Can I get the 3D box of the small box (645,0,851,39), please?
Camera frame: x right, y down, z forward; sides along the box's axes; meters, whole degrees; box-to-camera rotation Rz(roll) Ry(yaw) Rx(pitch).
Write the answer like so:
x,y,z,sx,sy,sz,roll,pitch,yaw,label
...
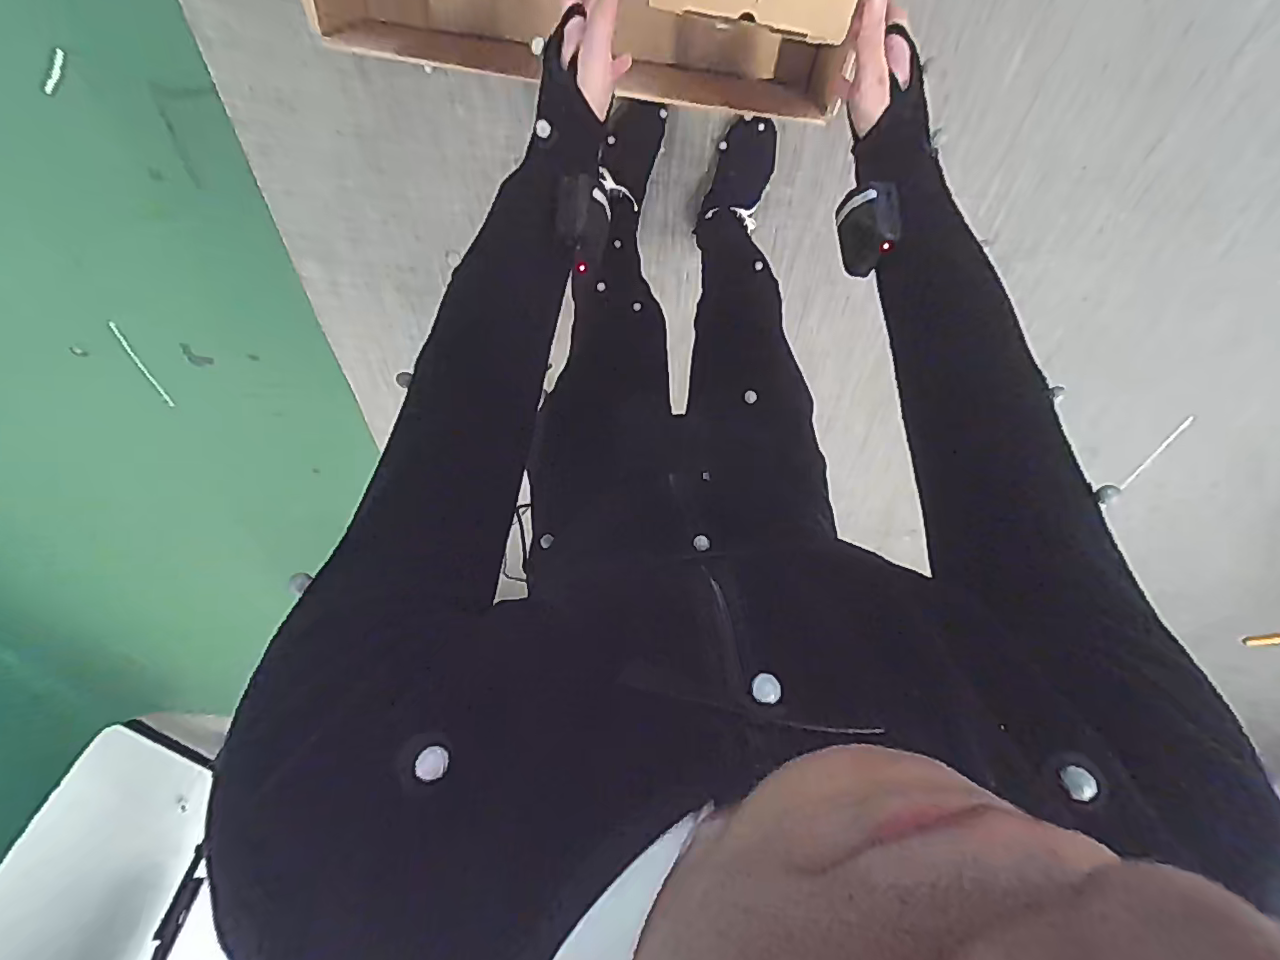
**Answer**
x,y,z,sx,sy,sz,roll,pitch,yaw,label
0.099,-0.485,0.425,0.168,0.176,0.179,8,137,-3,small box
